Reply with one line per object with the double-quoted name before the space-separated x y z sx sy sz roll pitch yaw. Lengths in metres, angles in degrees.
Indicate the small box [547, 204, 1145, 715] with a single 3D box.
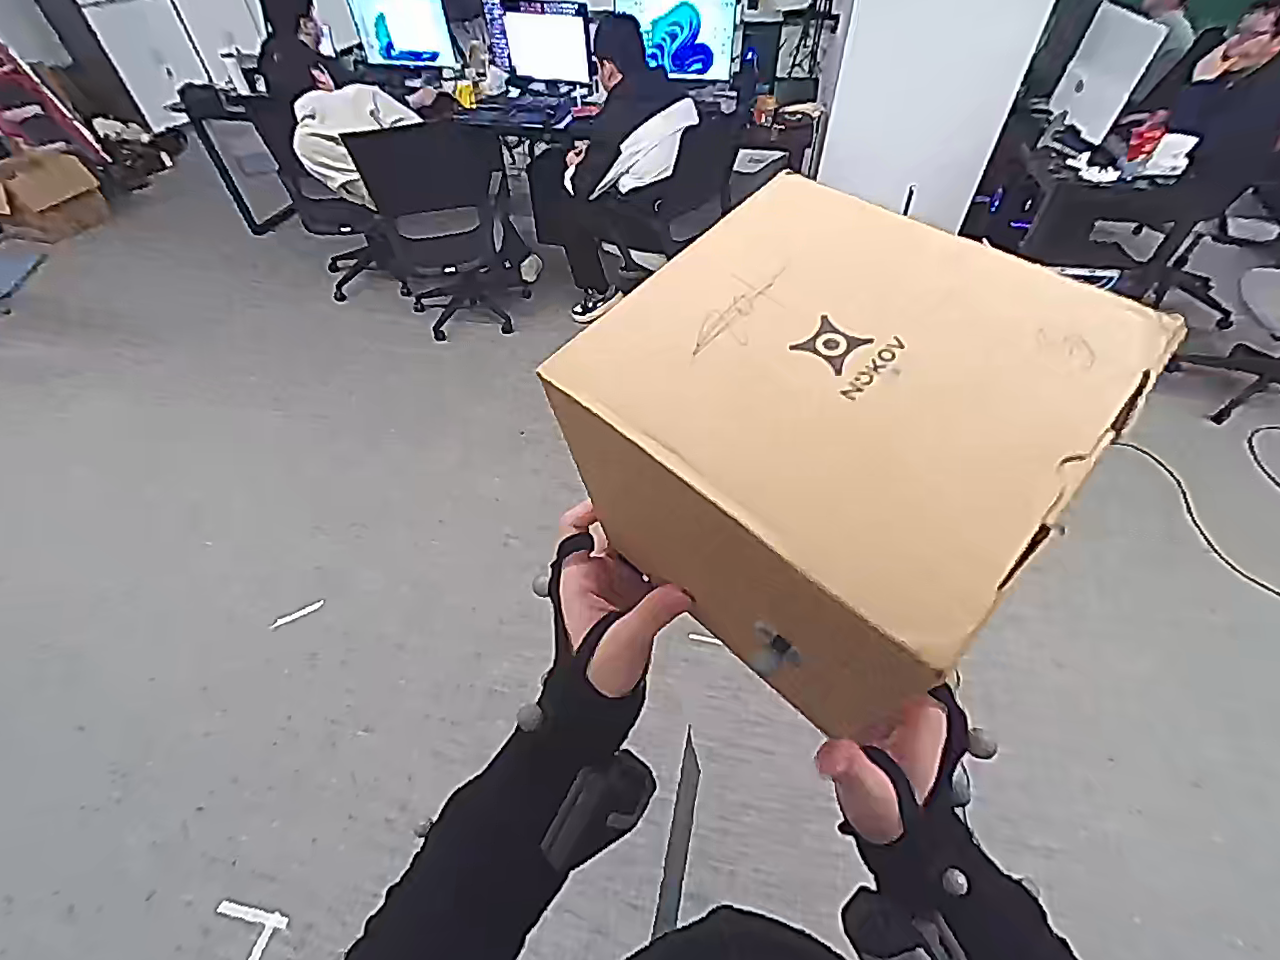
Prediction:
"small box" 0.086 -0.001 0.285 0.179 0.176 0.168 36 69 27
